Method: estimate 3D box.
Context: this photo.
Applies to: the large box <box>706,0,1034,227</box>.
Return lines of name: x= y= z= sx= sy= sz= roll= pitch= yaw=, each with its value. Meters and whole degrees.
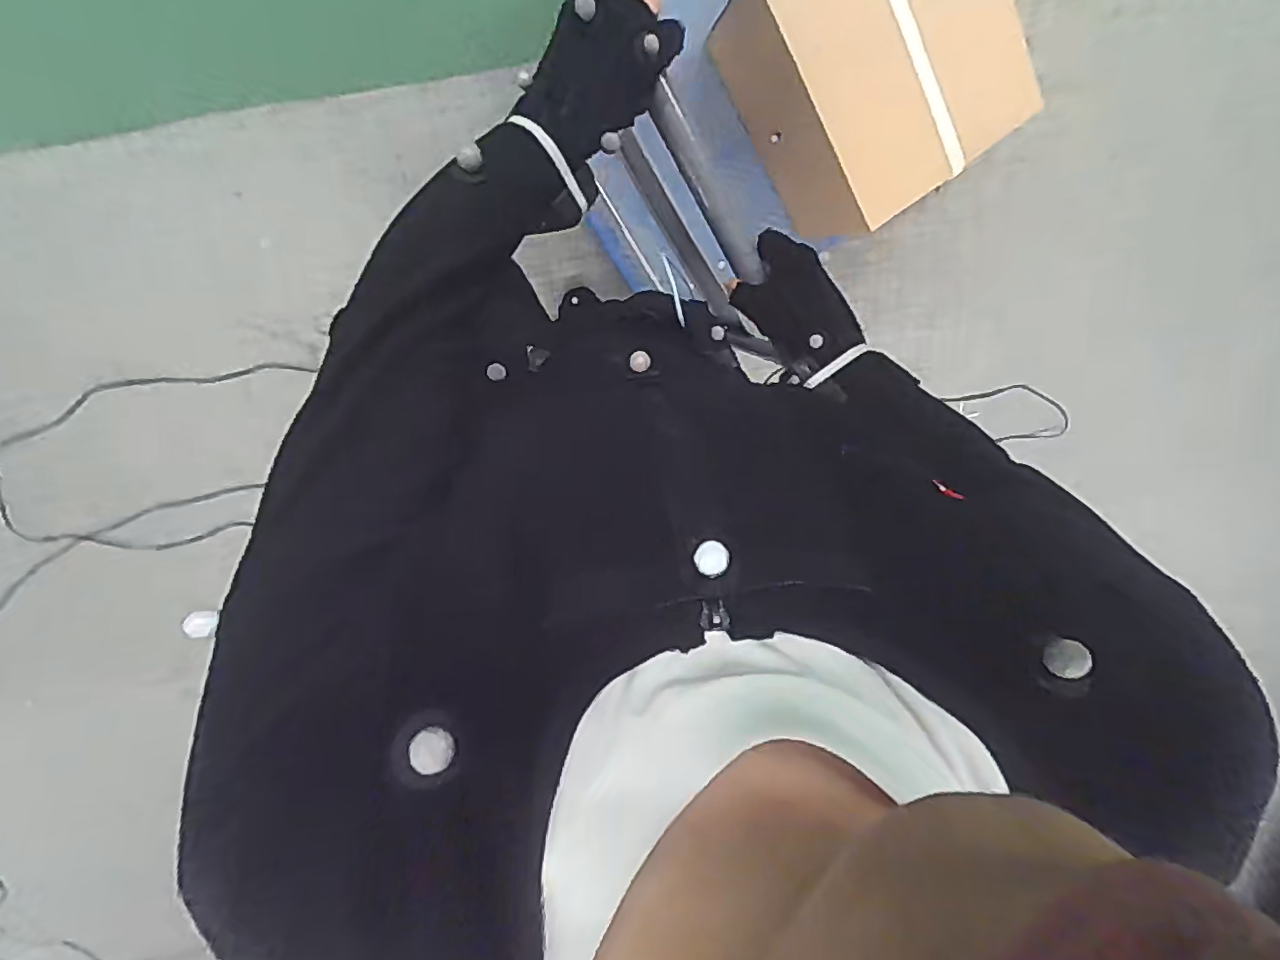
large box: x=0.369 y=-0.712 z=0.933 sx=0.320 sy=0.320 sz=0.408 roll=-35 pitch=112 yaw=8
